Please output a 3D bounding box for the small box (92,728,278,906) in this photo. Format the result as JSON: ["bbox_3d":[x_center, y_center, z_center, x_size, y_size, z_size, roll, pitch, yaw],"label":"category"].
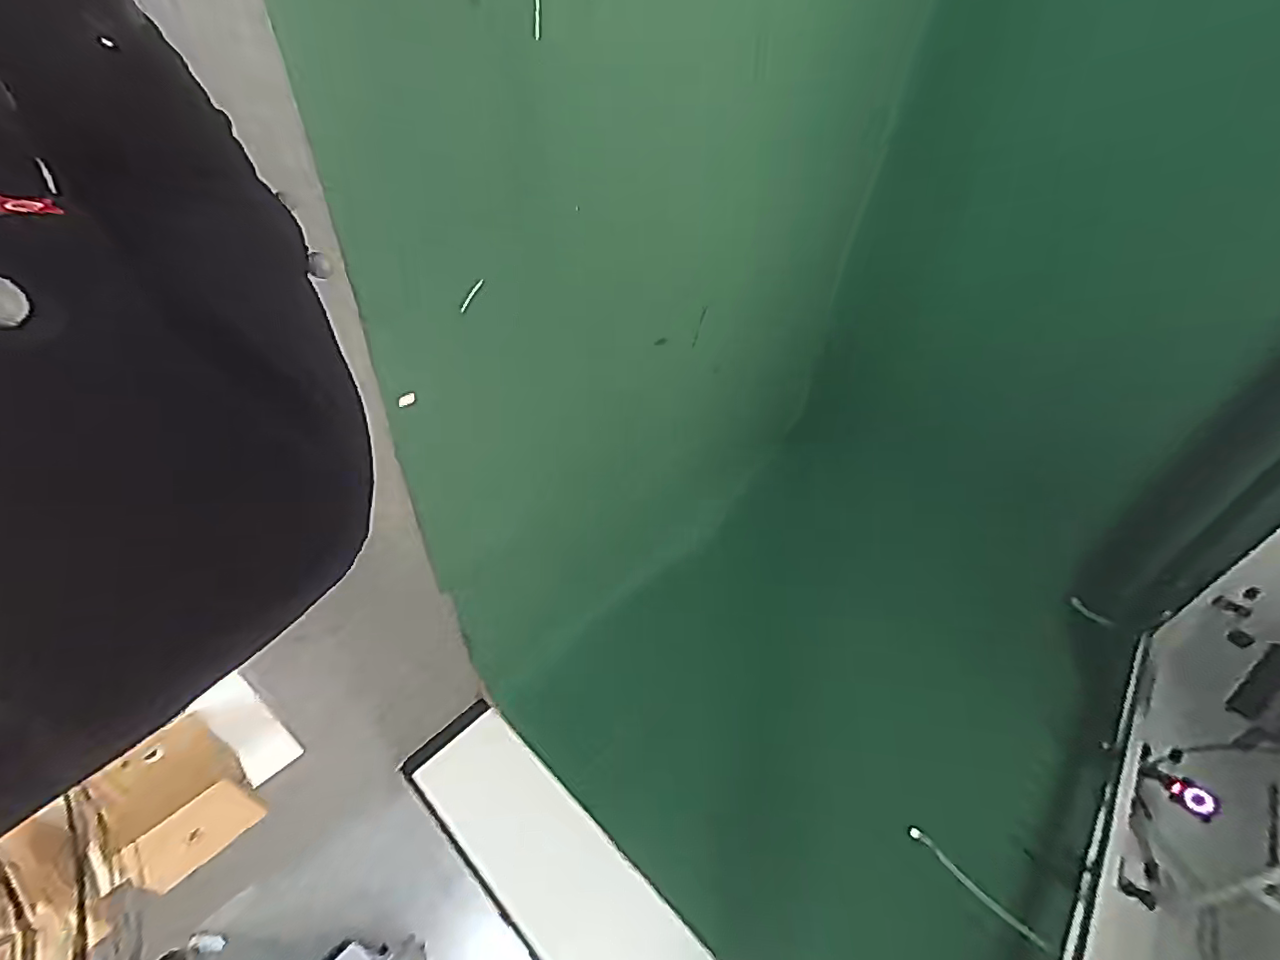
[{"bbox_3d":[-0.764,0.563,0.917,0.168,0.176,0.179,-36,142,-34],"label":"small box"}]

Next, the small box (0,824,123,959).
[{"bbox_3d":[-0.922,0.650,0.791,0.168,0.176,0.179,-34,144,-35],"label":"small box"}]
